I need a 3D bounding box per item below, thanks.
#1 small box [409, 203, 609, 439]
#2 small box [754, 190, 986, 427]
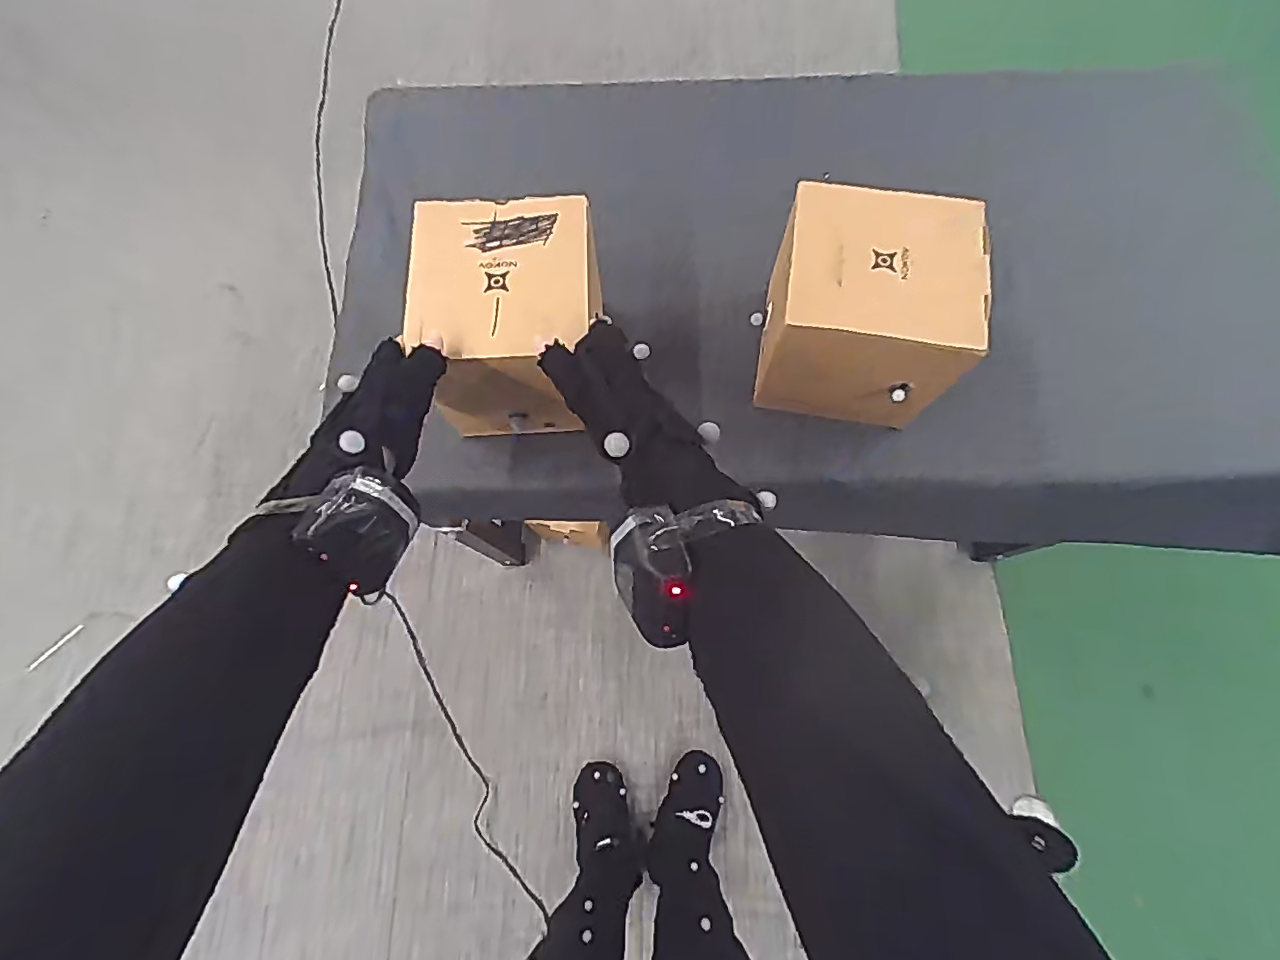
[{"bbox_3d":[-0.121,-0.158,0.570,0.168,0.176,0.179,-3,71,0],"label":"small box"},{"bbox_3d":[0.229,-0.169,0.573,0.179,0.176,0.168,8,71,4],"label":"small box"}]
